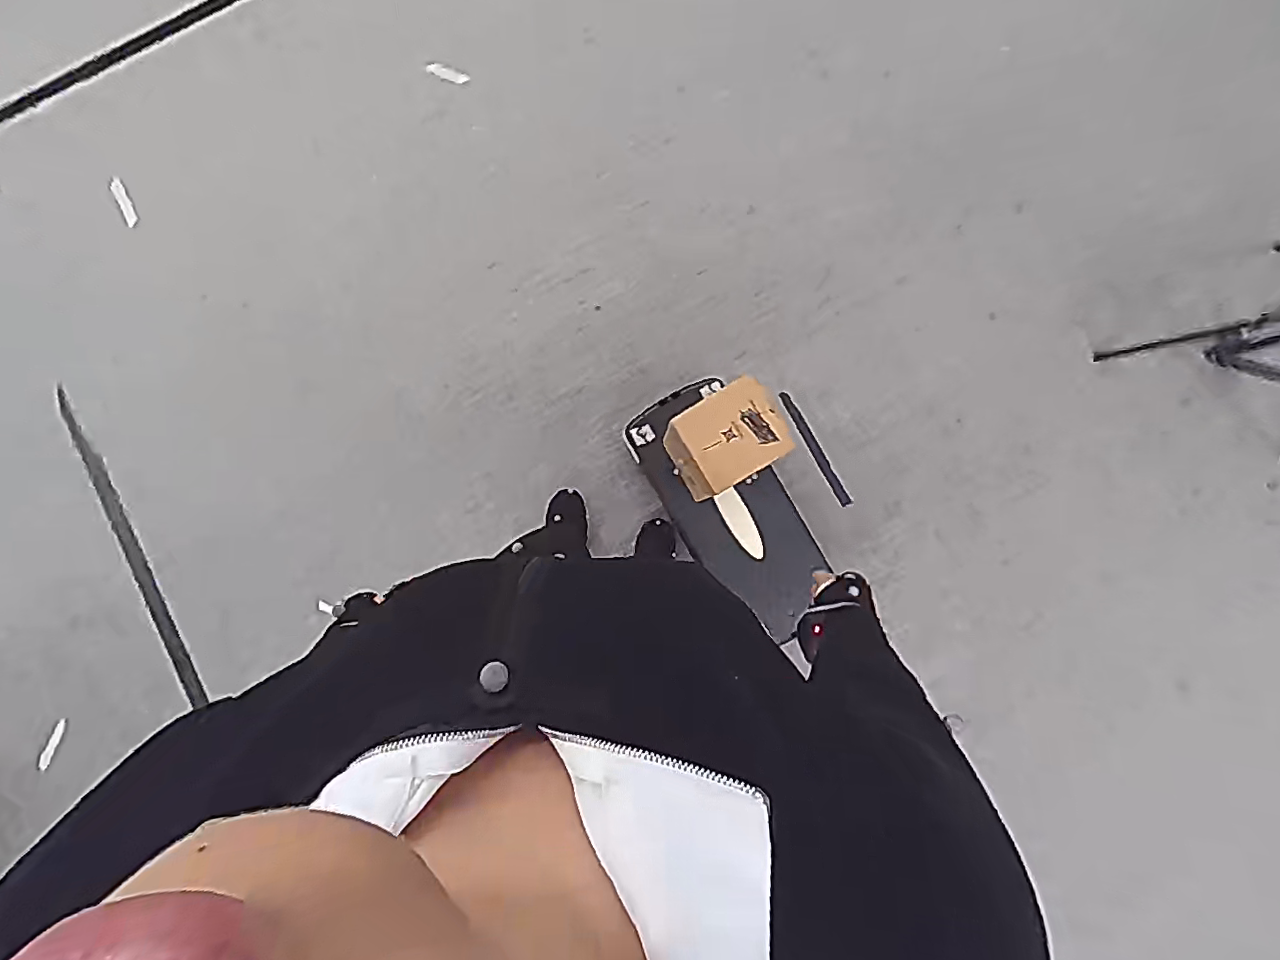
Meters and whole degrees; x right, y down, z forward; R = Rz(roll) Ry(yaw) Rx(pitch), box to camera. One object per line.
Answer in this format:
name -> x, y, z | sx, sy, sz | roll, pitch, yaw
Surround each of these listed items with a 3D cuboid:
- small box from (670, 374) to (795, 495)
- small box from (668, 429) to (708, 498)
small box -> 0.171, -0.082, 1.071 | 0.179, 0.176, 0.168 | -30, 87, -1
small box -> 0.169, -0.070, 1.235 | 0.179, 0.176, 0.168 | -29, 87, -1
